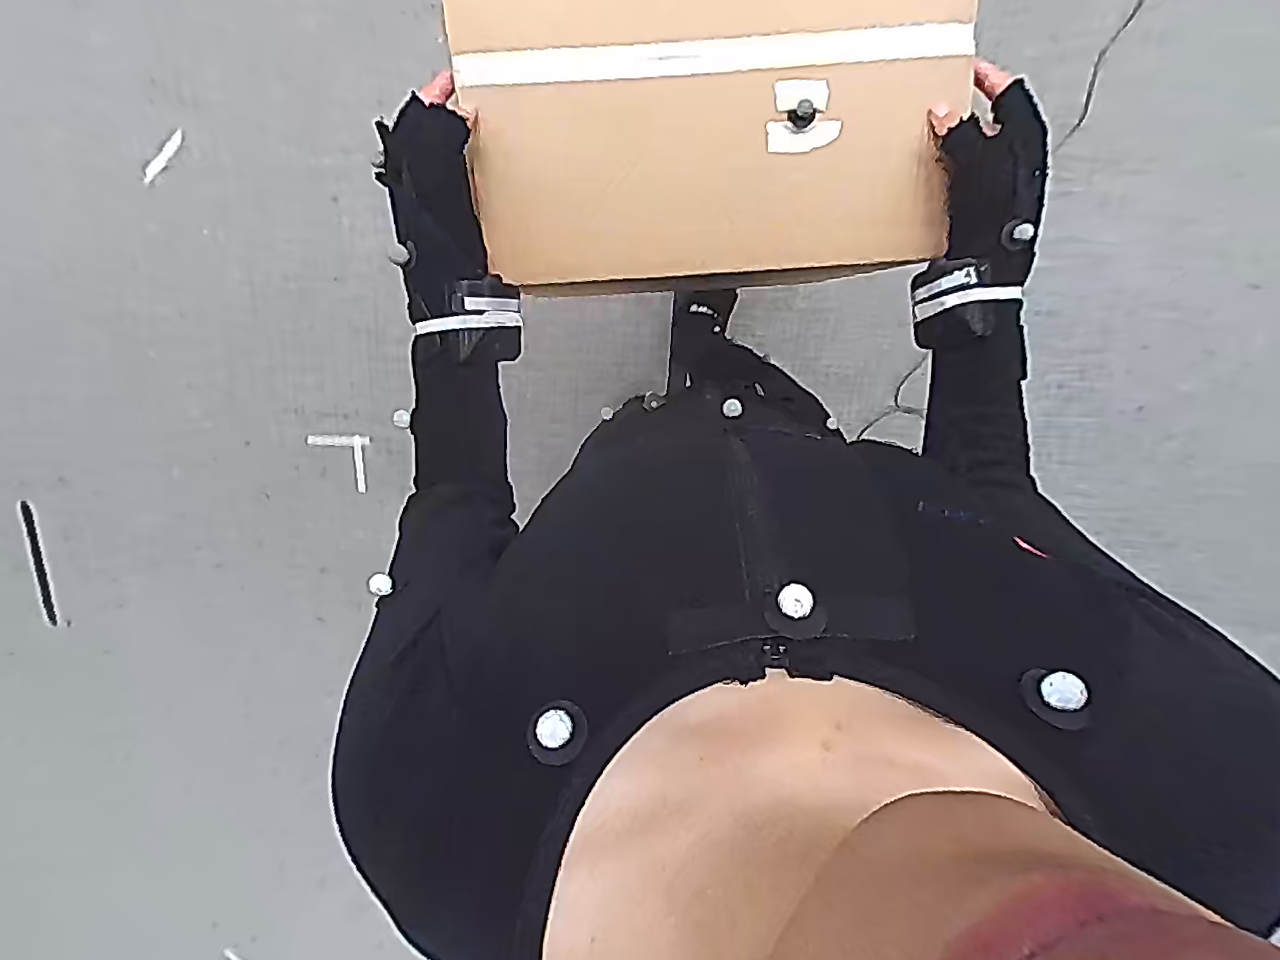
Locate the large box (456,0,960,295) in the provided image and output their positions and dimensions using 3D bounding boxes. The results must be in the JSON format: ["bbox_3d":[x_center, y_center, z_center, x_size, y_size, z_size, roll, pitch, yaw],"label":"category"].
[{"bbox_3d":[0.050,-0.381,0.576,0.408,0.320,0.320,-4,107,-1],"label":"large box"}]
